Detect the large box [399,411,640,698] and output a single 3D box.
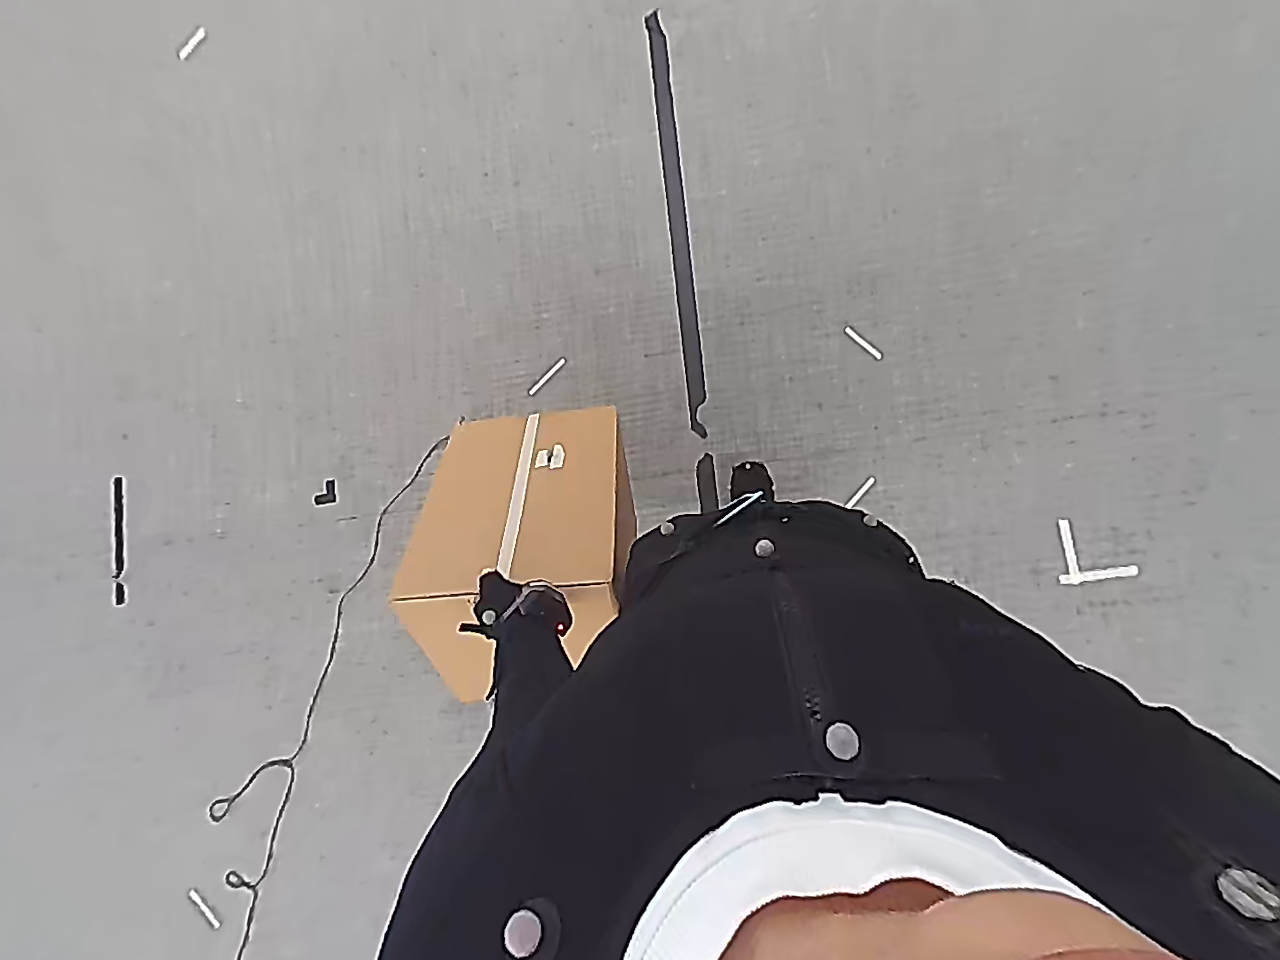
[{"bbox_3d":[-0.176,0.129,0.990,0.320,0.320,0.408,-6,42,4],"label":"large box"}]
